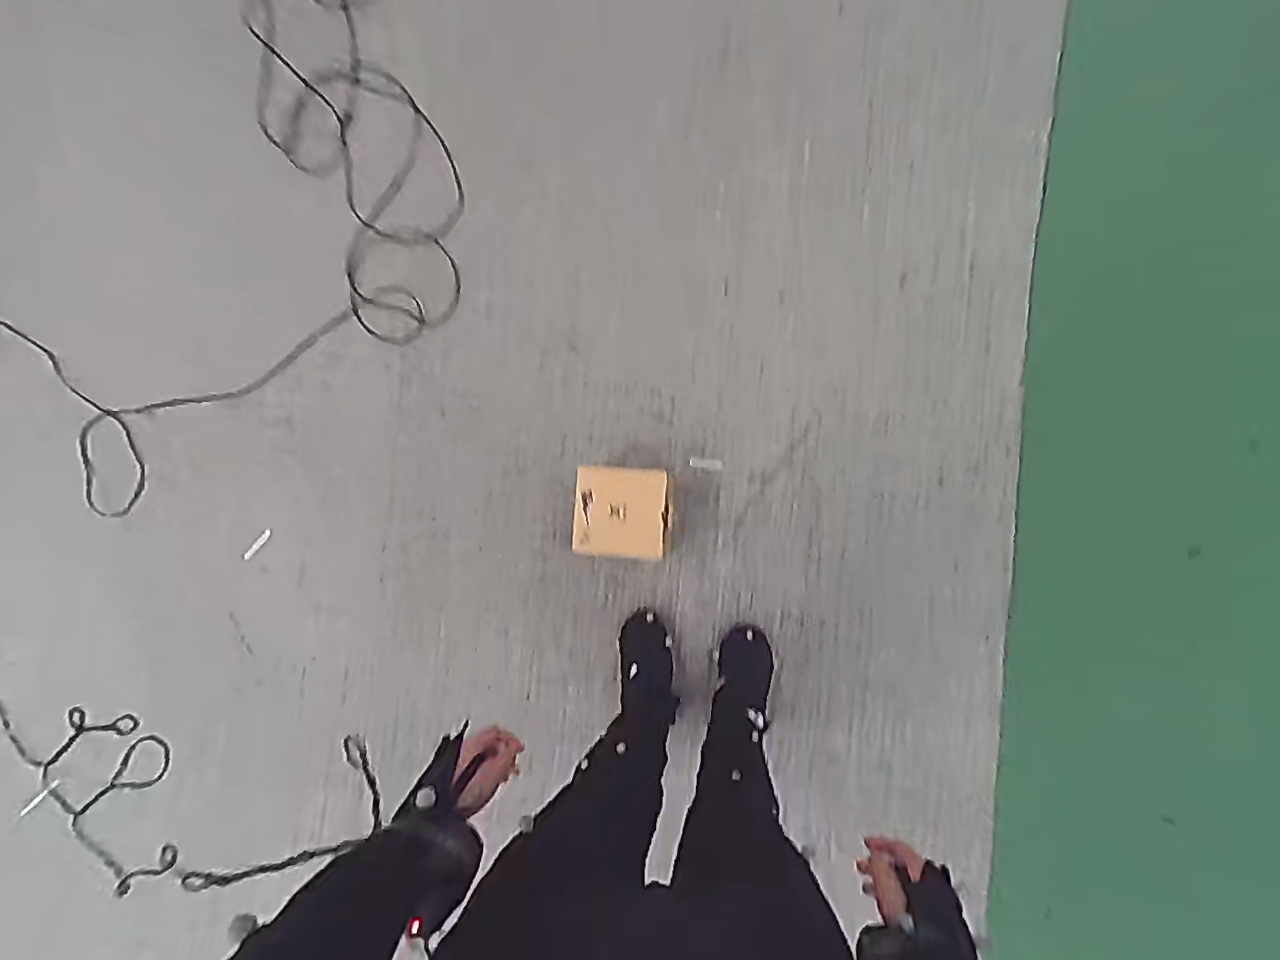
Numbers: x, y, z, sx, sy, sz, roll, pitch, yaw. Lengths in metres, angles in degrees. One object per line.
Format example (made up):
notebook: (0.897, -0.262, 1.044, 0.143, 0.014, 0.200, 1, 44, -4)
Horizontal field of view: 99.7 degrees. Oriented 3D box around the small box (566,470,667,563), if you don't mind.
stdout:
small box: (-0.040, 0.068, 1.093, 0.179, 0.176, 0.168, 4, 90, 8)
